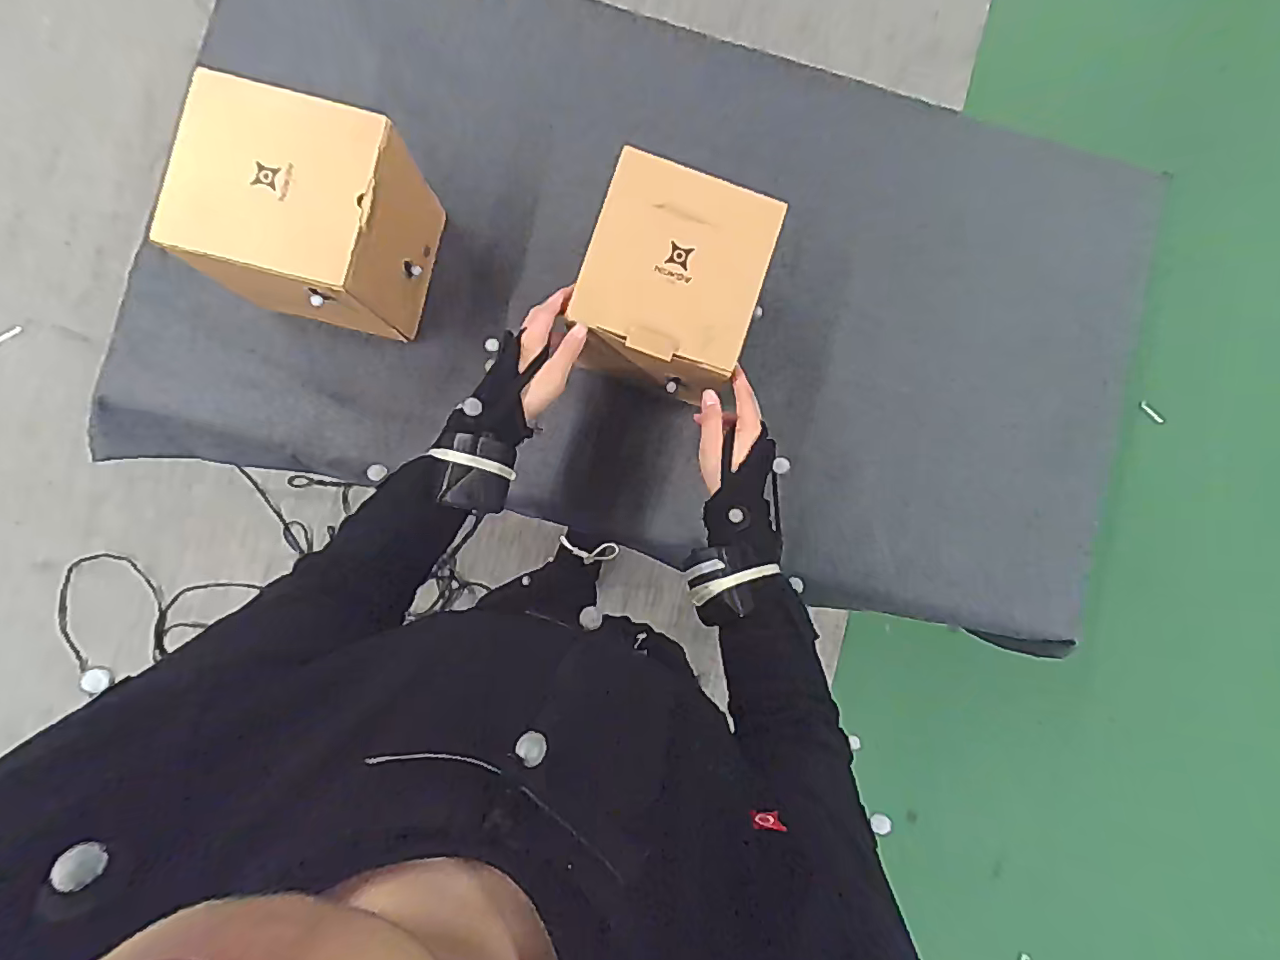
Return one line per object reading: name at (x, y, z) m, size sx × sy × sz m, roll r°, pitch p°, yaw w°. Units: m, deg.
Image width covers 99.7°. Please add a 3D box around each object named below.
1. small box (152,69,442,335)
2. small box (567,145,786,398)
small box at (-0.331, -0.266, 0.561) m, size 0.179 × 0.176 × 0.168 m, roll 13°, pitch 87°, yaw -4°
small box at (0.031, -0.202, 0.580) m, size 0.168 × 0.176 × 0.179 m, roll 18°, pitch 86°, yaw -4°
